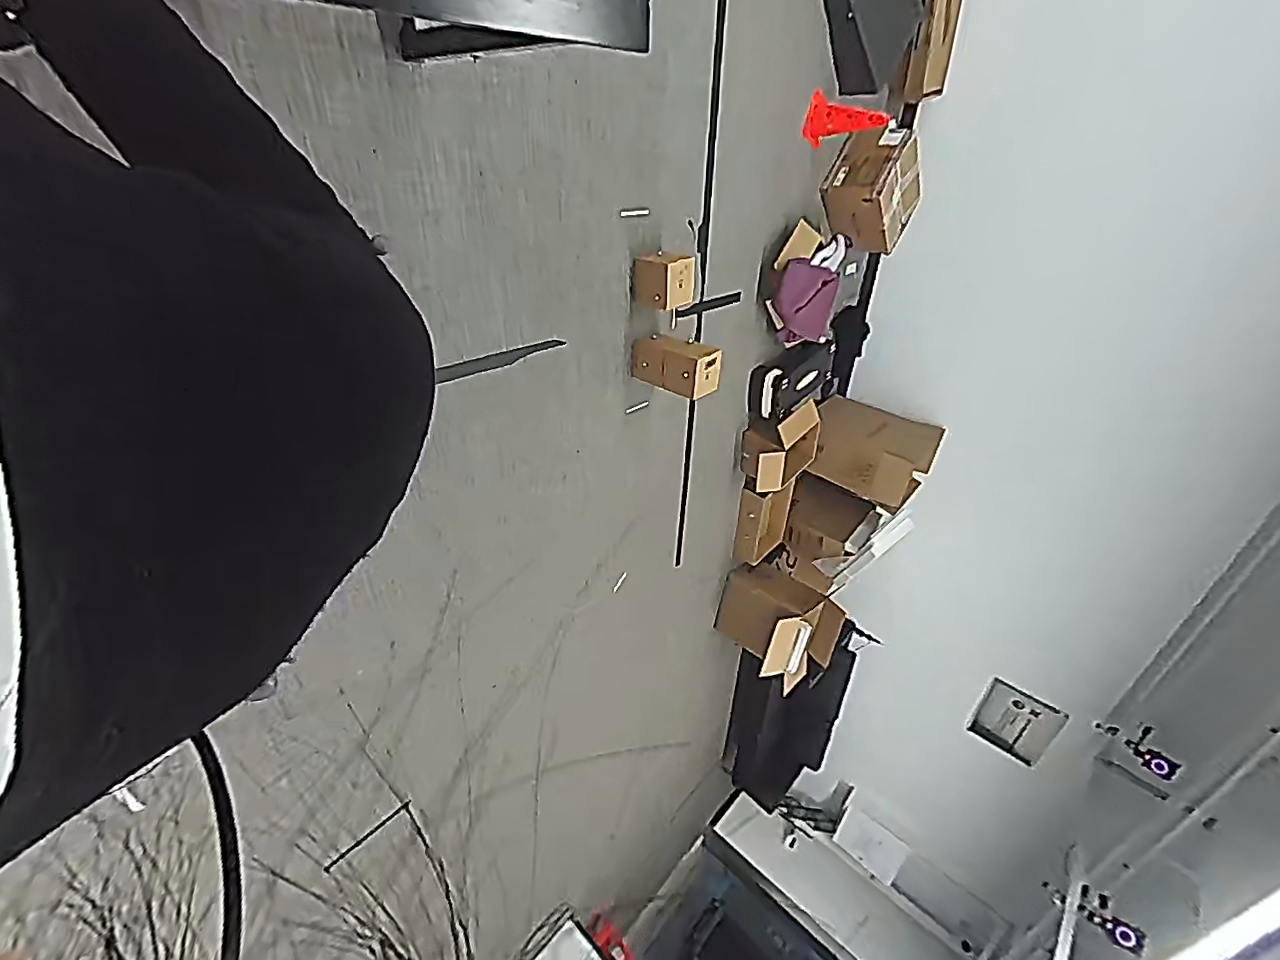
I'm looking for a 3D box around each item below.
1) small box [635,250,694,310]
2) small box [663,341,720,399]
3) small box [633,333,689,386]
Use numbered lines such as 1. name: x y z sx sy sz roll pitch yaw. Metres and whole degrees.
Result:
1. small box: 0.091 -0.791 2.127 0.168 0.176 0.179 -32 136 -37
2. small box: 0.207 -0.458 2.217 0.168 0.176 0.179 -30 135 -39
3. small box: 0.085 -0.518 2.312 0.179 0.176 0.168 -27 133 -39
